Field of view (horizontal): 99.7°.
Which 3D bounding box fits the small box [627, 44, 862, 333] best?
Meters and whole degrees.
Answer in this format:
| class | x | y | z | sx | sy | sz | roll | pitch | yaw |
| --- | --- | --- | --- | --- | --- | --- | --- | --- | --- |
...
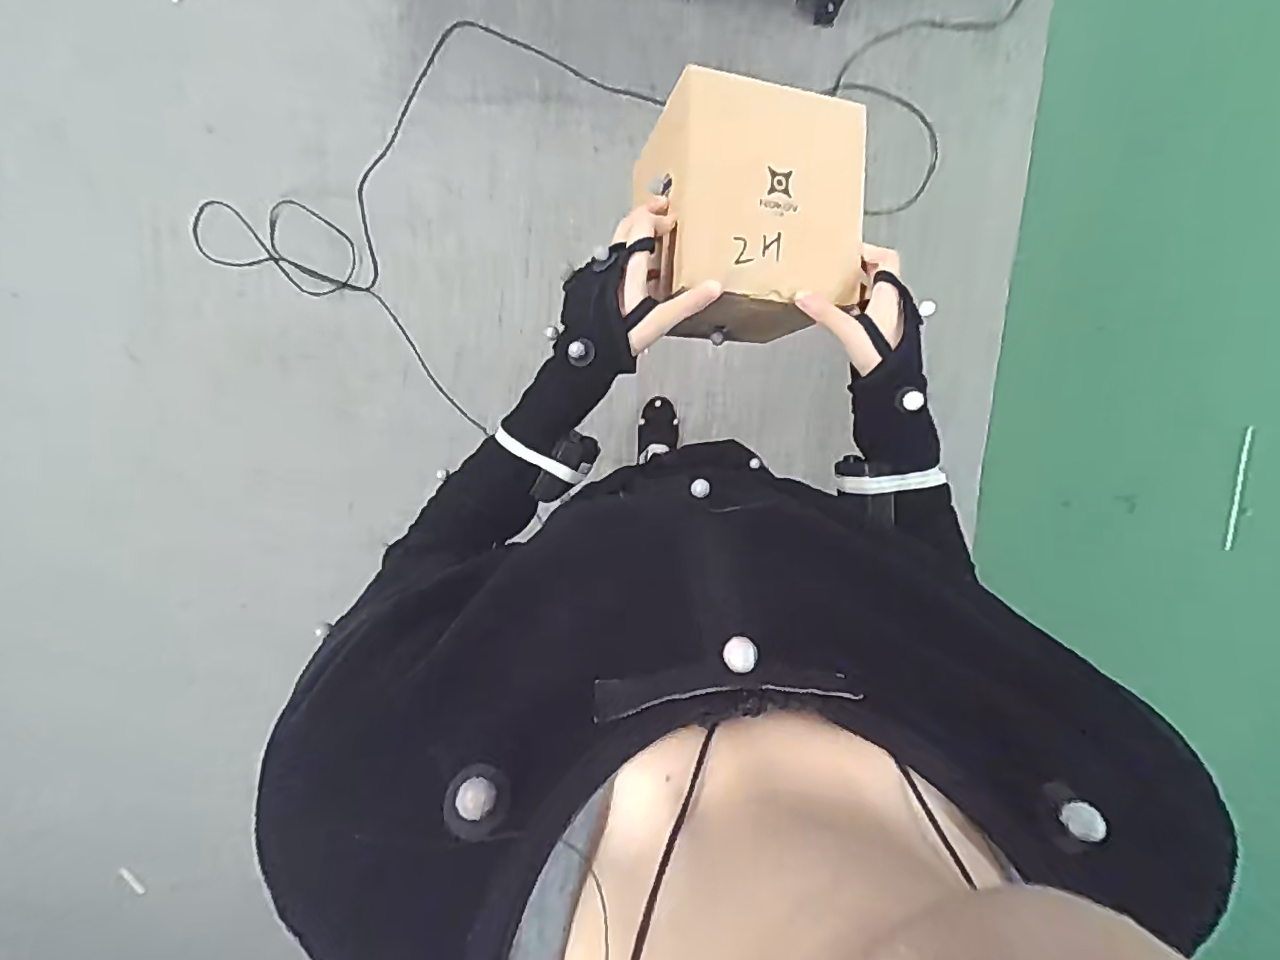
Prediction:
| class | x | y | z | sx | sy | sz | roll | pitch | yaw |
| --- | --- | --- | --- | --- | --- | --- | --- | --- | --- |
| small box | 0.086 | -0.254 | 0.519 | 0.168 | 0.176 | 0.179 | 1 | 93 | -15 |
